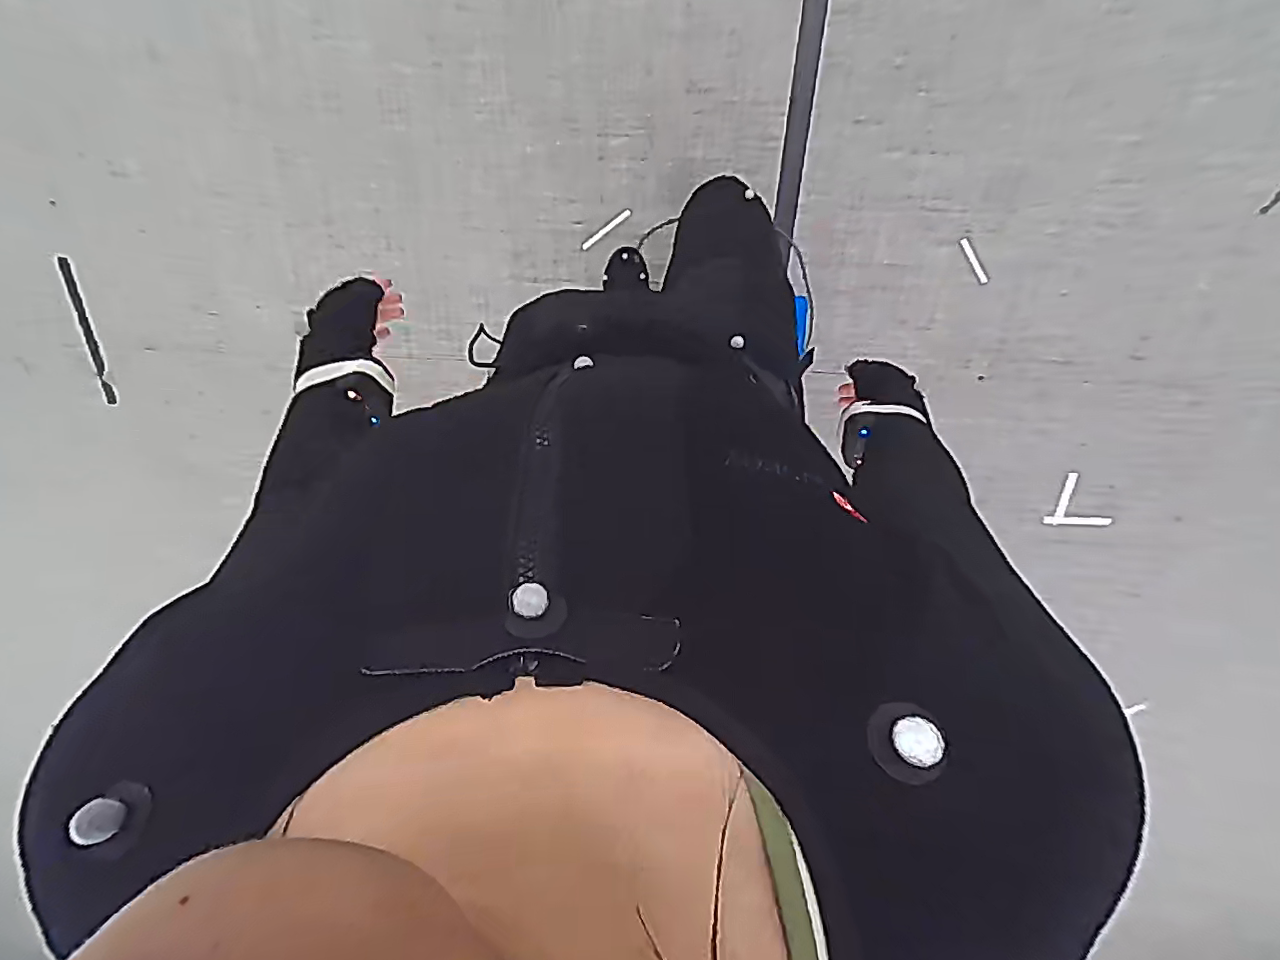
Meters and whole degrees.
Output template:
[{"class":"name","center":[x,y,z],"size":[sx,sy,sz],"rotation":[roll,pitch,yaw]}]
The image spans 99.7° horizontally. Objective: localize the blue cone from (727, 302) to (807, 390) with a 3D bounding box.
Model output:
[{"class":"blue cone","center":[0.302,-0.269,1.190],"size":[0.192,0.380,0.193],"rotation":[-1,116,5]}]
